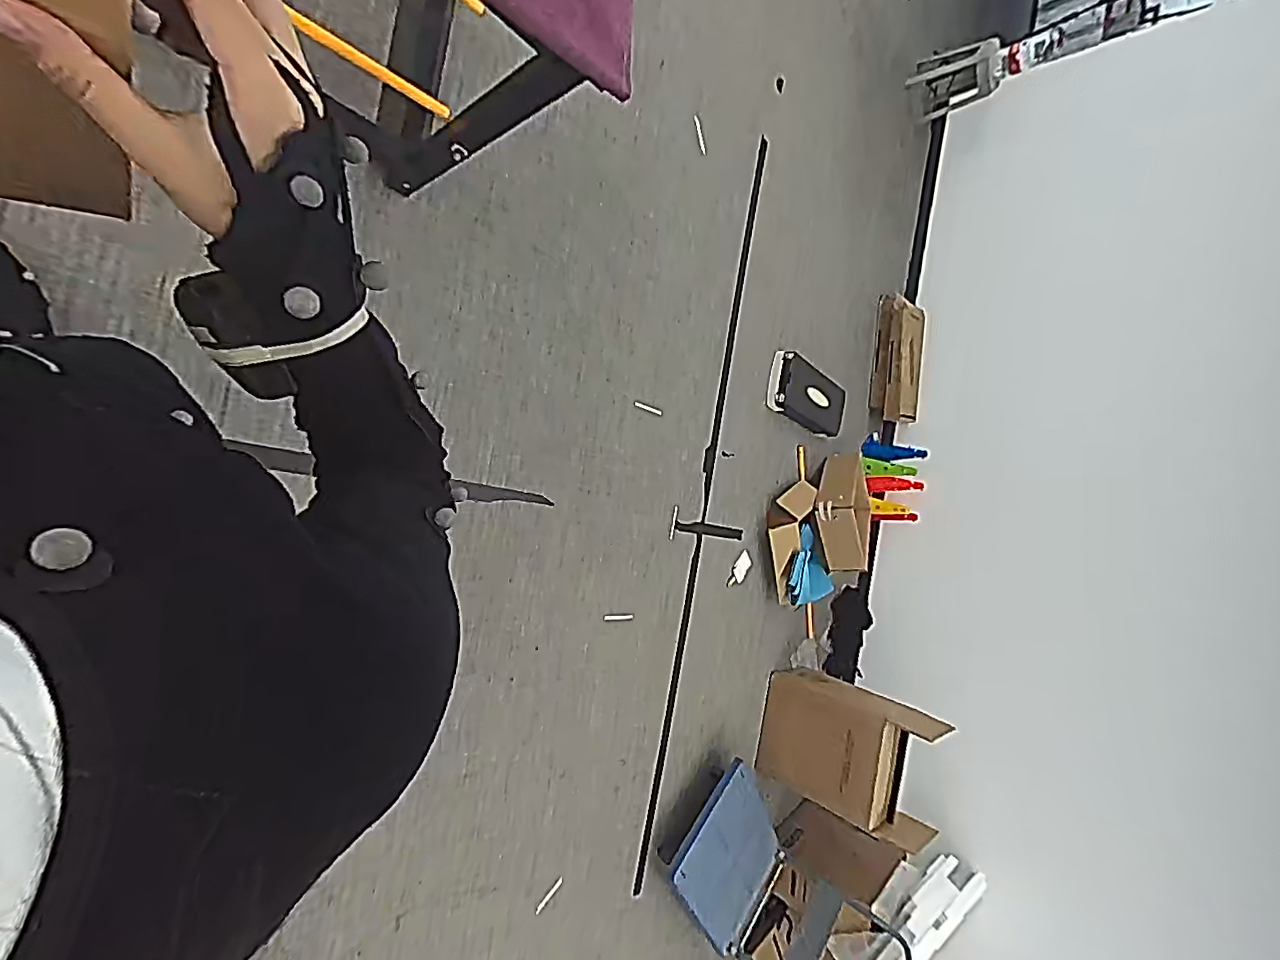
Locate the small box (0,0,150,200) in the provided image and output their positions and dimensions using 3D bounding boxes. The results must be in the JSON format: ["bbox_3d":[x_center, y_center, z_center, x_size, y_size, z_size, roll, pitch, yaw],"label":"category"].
[{"bbox_3d":[-0.293,-0.229,0.185,0.179,0.176,0.168,-7,87,-45],"label":"small box"}]
